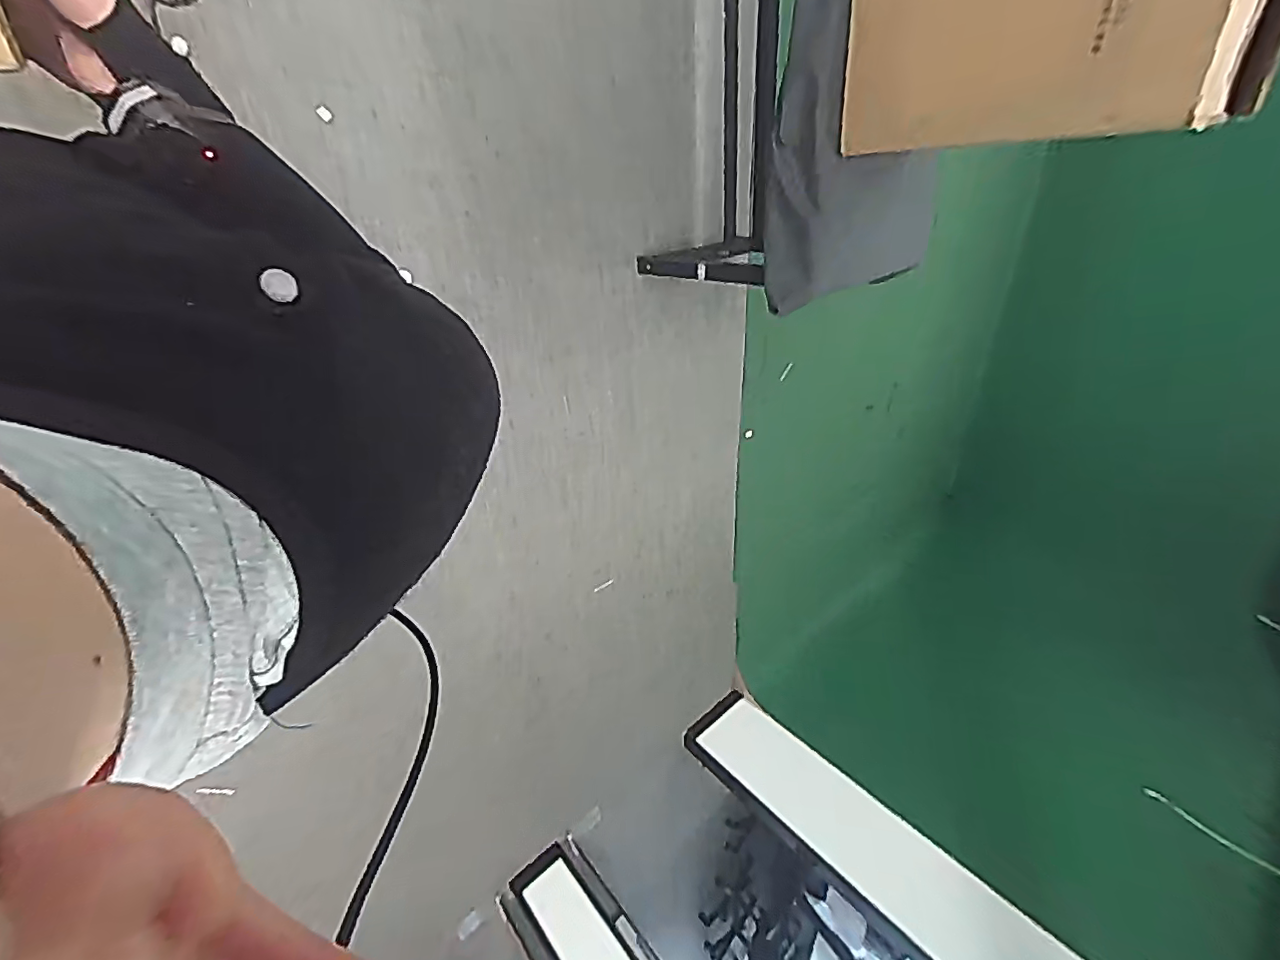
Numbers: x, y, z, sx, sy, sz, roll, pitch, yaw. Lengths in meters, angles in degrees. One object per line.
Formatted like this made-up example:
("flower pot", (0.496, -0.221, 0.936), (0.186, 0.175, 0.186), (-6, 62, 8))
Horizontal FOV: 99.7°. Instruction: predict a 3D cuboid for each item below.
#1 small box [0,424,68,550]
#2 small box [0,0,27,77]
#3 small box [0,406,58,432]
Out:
("small box", (-1.094, 0.004, 0.899), (0.179, 0.176, 0.168), (10, 104, -48))
("small box", (-0.479, -0.320, 0.278), (0.179, 0.176, 0.168), (-21, 133, -35))
("small box", (-1.222, -0.037, 0.996), (0.168, 0.176, 0.179), (29, 88, -48))
